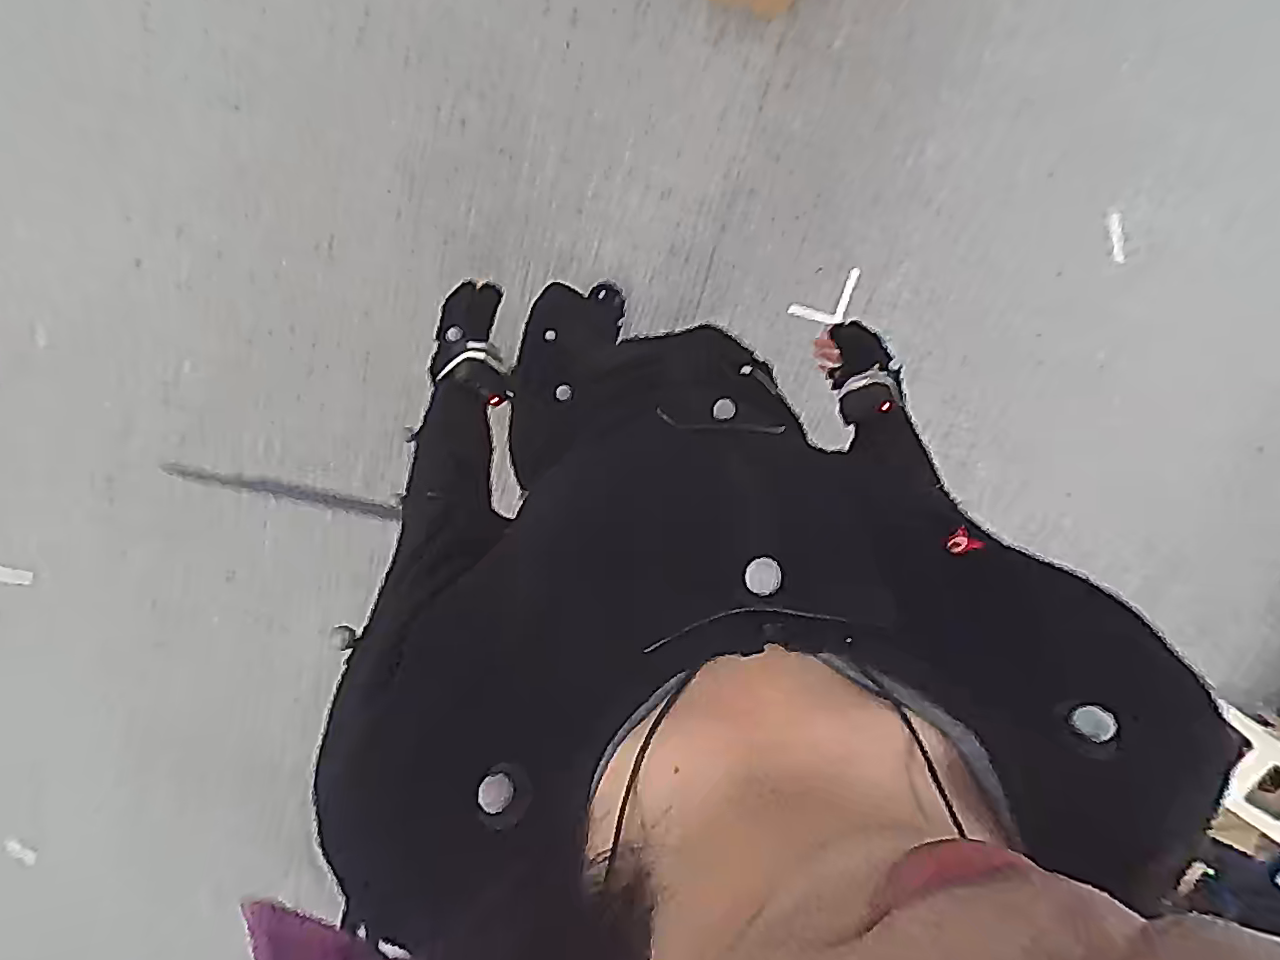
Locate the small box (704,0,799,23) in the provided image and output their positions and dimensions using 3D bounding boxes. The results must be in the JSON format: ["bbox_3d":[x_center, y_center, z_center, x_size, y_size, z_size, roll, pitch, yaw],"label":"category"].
[{"bbox_3d":[0.243,-1.068,1.093,0.179,0.176,0.168,6,110,-10],"label":"small box"}]
